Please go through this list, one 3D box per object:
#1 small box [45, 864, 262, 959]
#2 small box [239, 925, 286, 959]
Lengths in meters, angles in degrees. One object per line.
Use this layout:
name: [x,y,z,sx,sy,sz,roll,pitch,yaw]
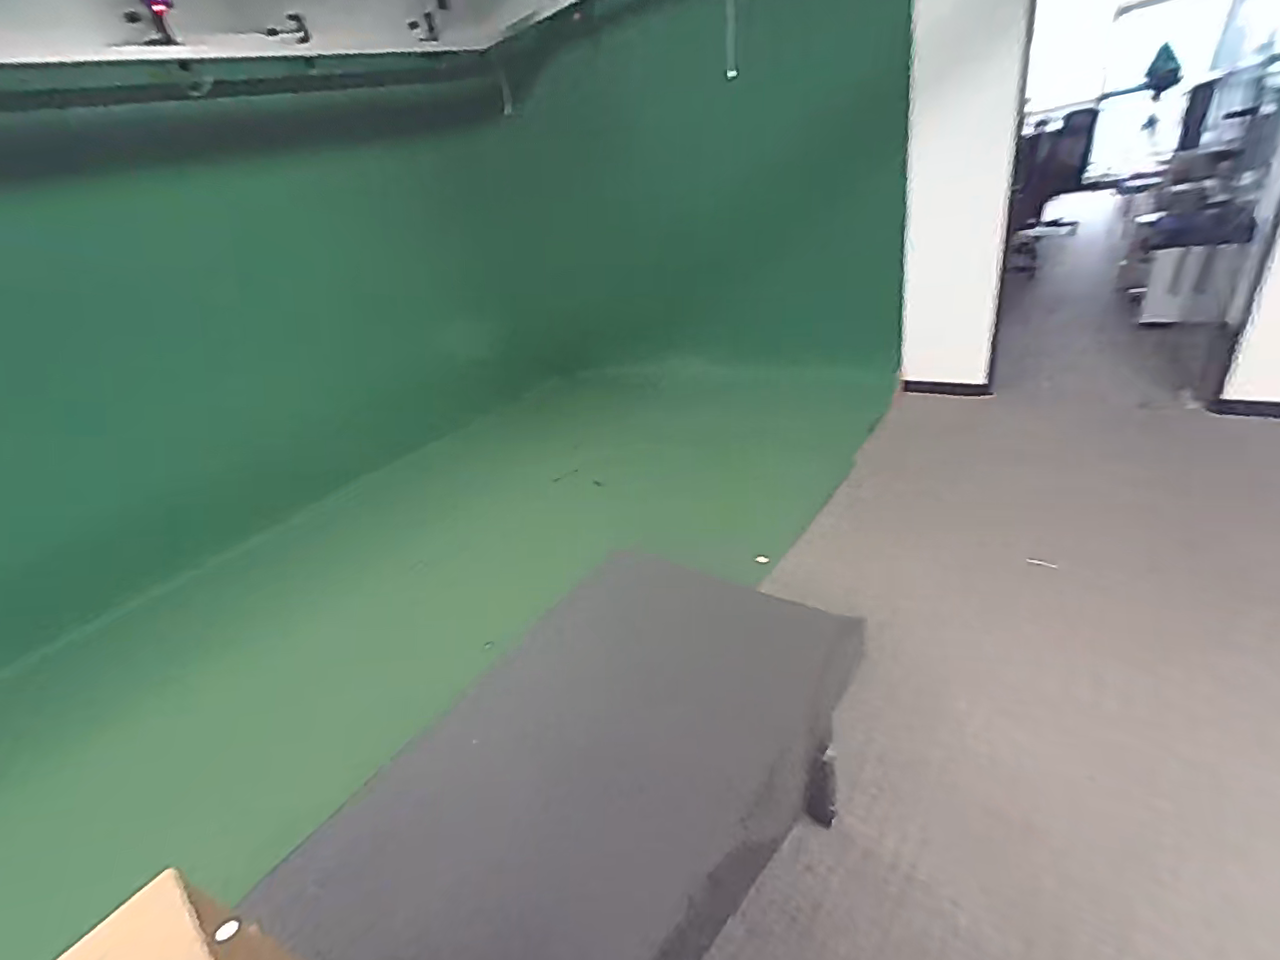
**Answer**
small box: [-0.478,0.535,0.519,0.179,0.176,0.168,11,36,38]
small box: [-0.457,0.672,0.606,0.179,0.176,0.168,14,38,39]
